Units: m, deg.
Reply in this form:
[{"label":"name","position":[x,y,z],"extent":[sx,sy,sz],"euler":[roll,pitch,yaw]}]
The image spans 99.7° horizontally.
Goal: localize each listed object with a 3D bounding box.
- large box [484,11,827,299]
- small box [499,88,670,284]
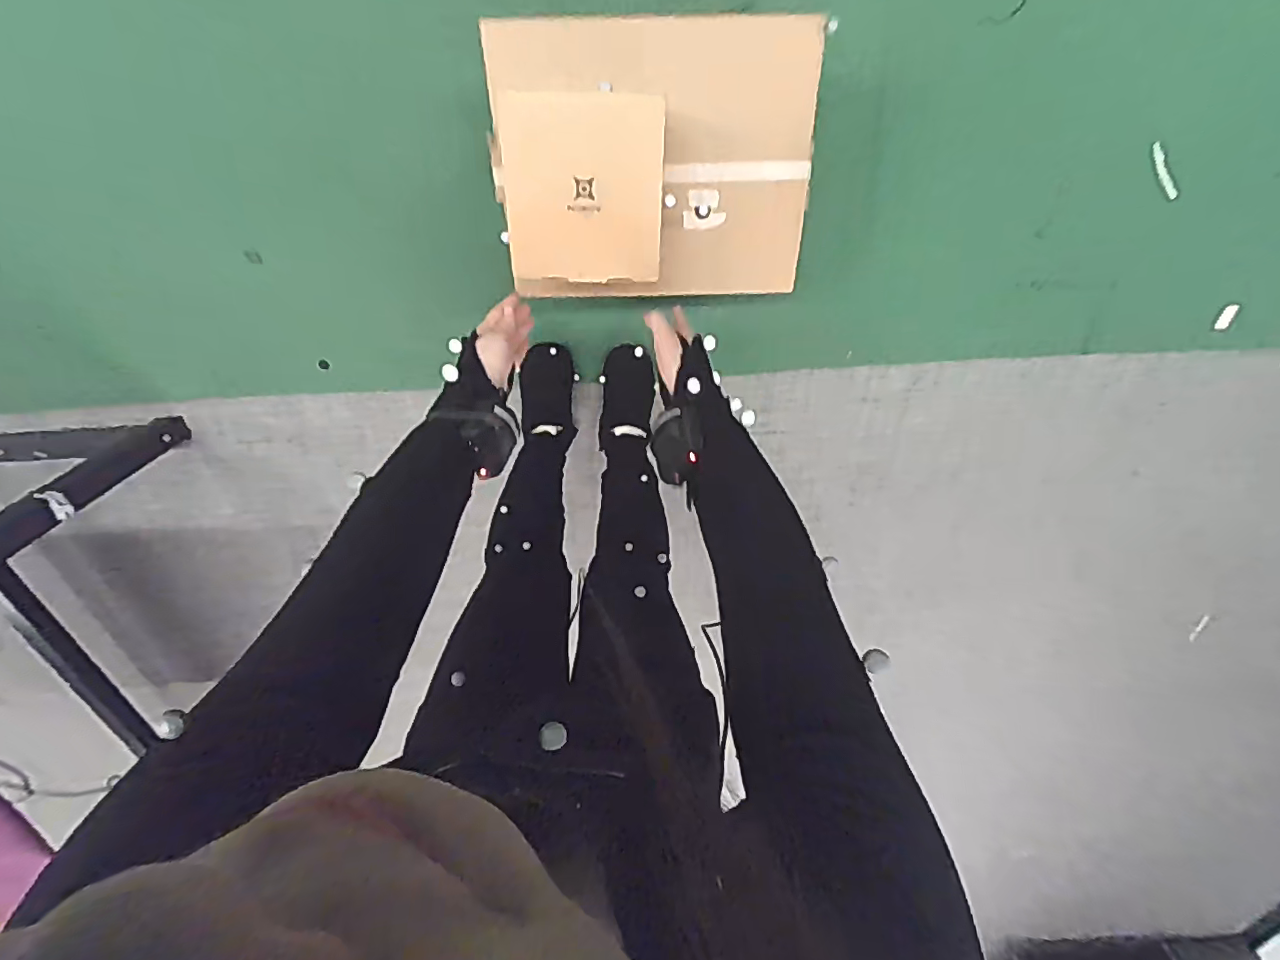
[{"label":"large box","position":[0.017,-0.475,0.823],"extent":[0.408,0.320,0.320],"euler":[-2,122,-1]},{"label":"small box","position":[-0.059,-0.335,0.622],"extent":[0.168,0.176,0.179],"euler":[0,122,-2]}]
